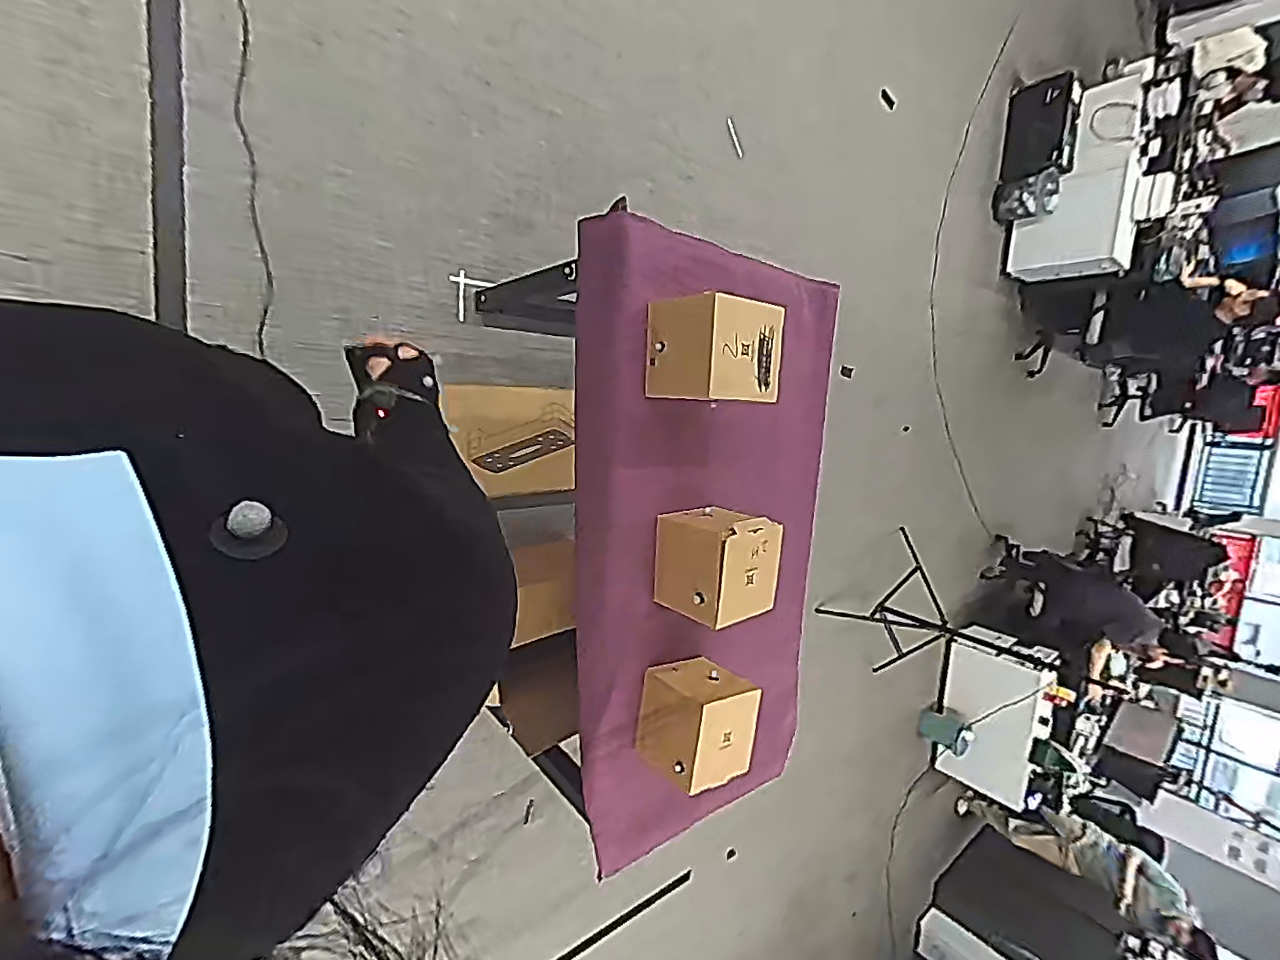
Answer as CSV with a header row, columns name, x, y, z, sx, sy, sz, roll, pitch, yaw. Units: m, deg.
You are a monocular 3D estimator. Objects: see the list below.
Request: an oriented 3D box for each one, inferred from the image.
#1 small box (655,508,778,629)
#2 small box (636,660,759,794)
name,x,y,z,sx,sy,sz,roll,pitch,yaw
small box,0.143,0.161,1.045,0.168,0.176,0.179,-6,102,-41
small box,0.110,0.476,1.079,0.168,0.176,0.179,4,96,-40
